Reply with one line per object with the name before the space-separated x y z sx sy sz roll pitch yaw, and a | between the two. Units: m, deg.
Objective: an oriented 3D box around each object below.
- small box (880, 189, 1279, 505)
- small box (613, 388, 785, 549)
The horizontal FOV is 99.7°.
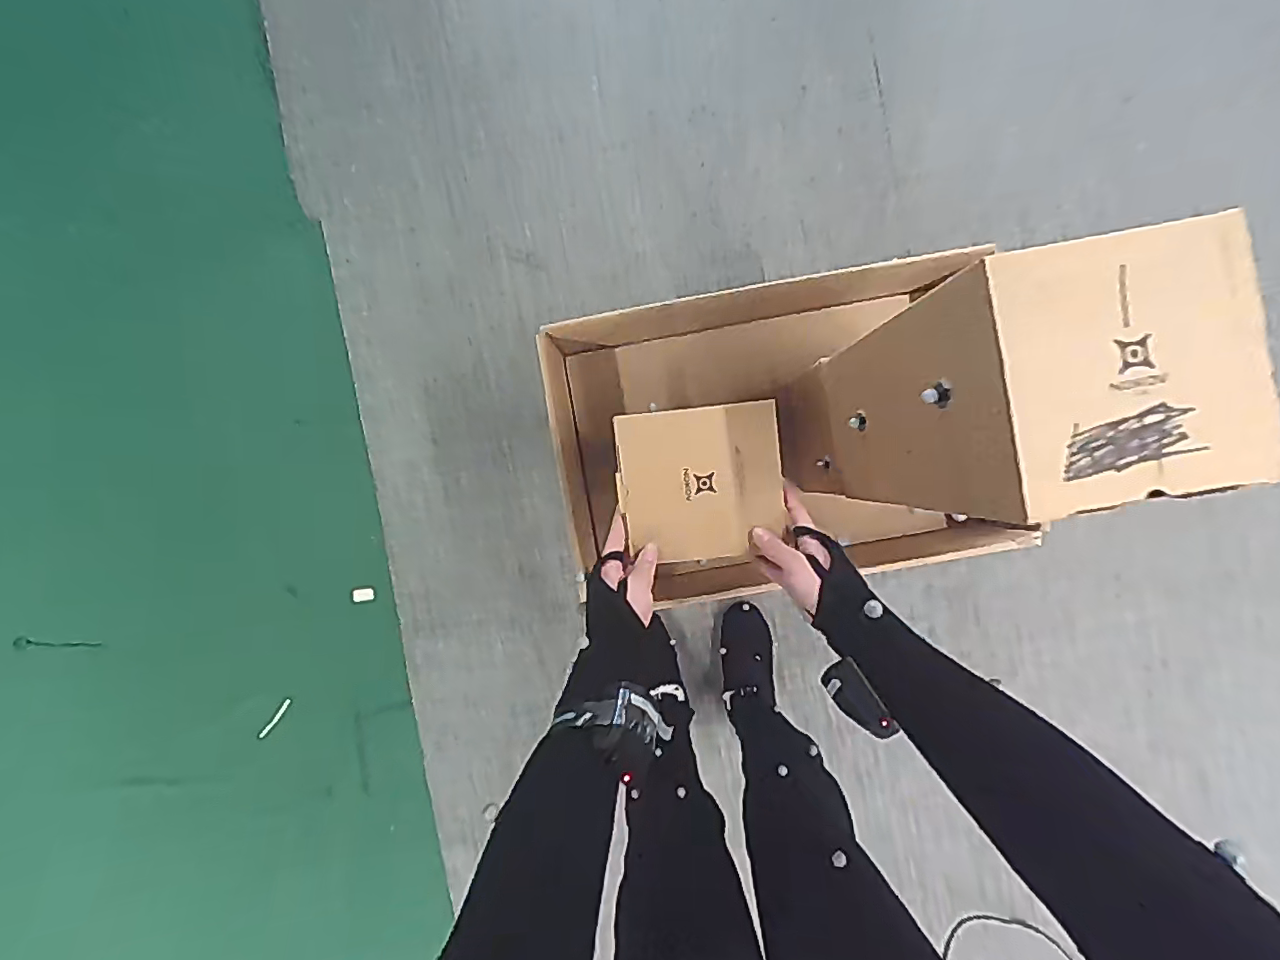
small box | 0.310 -0.085 0.419 0.168 0.176 0.179 -10 91 2
small box | 0.069 -0.016 0.662 0.179 0.176 0.168 -6 94 3
